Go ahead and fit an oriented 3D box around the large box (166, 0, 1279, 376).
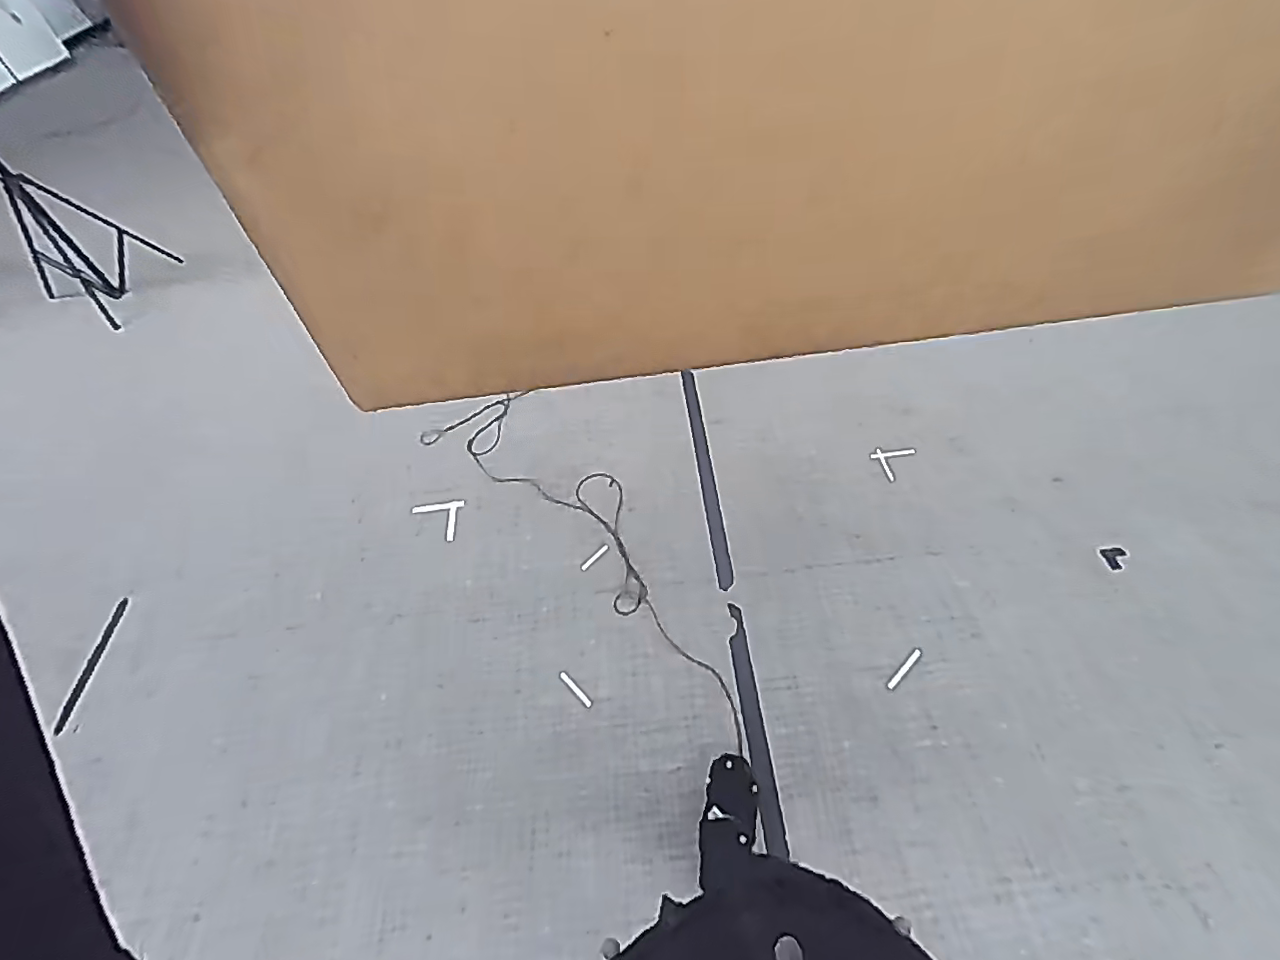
[{"bbox_3d":[0.047,-0.277,0.235,0.408,0.320,0.320,-7,47,0],"label":"large box"}]
